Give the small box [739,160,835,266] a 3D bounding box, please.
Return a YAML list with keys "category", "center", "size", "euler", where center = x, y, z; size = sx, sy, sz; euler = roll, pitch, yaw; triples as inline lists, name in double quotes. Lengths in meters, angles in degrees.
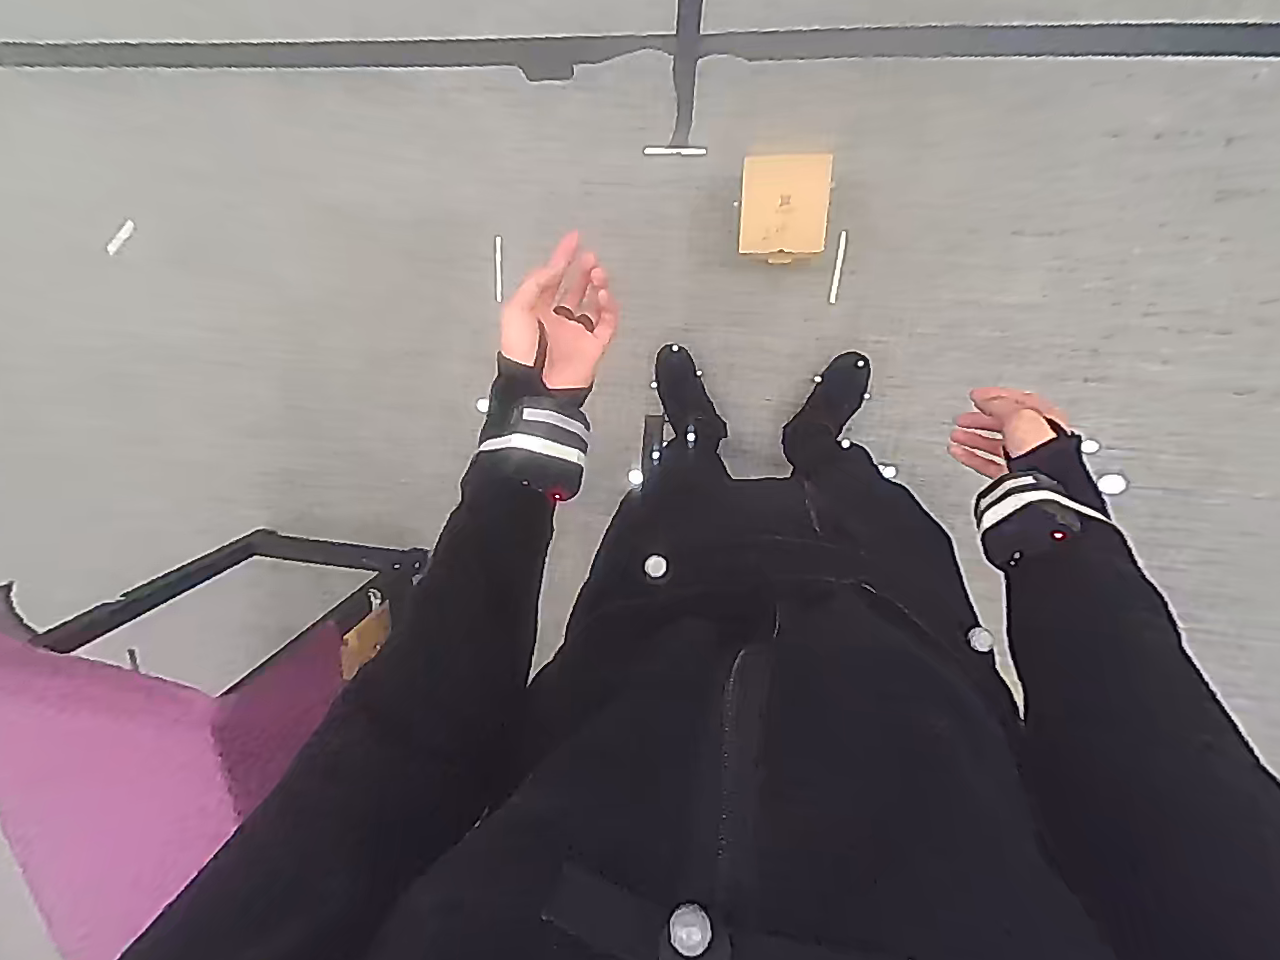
- category: "small box"
  center: [0.294, -0.544, 1.120]
  size: [0.168, 0.176, 0.179]
  euler: [3, 109, 9]
